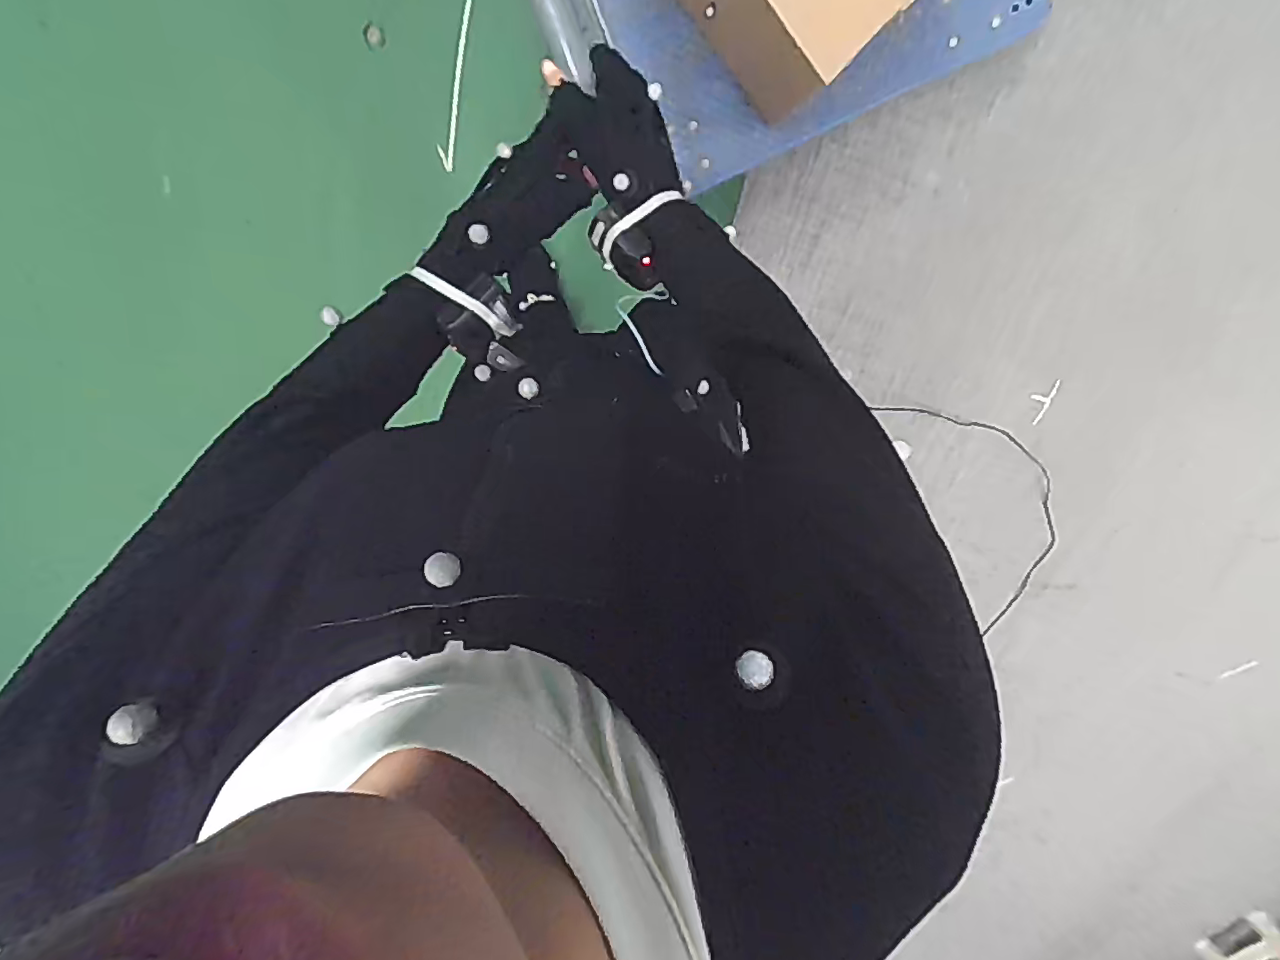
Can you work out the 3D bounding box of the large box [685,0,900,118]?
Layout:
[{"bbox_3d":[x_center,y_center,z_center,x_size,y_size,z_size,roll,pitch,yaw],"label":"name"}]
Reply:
[{"bbox_3d":[0.232,-0.858,0.810,0.320,0.320,0.408,-42,108,15],"label":"large box"}]
